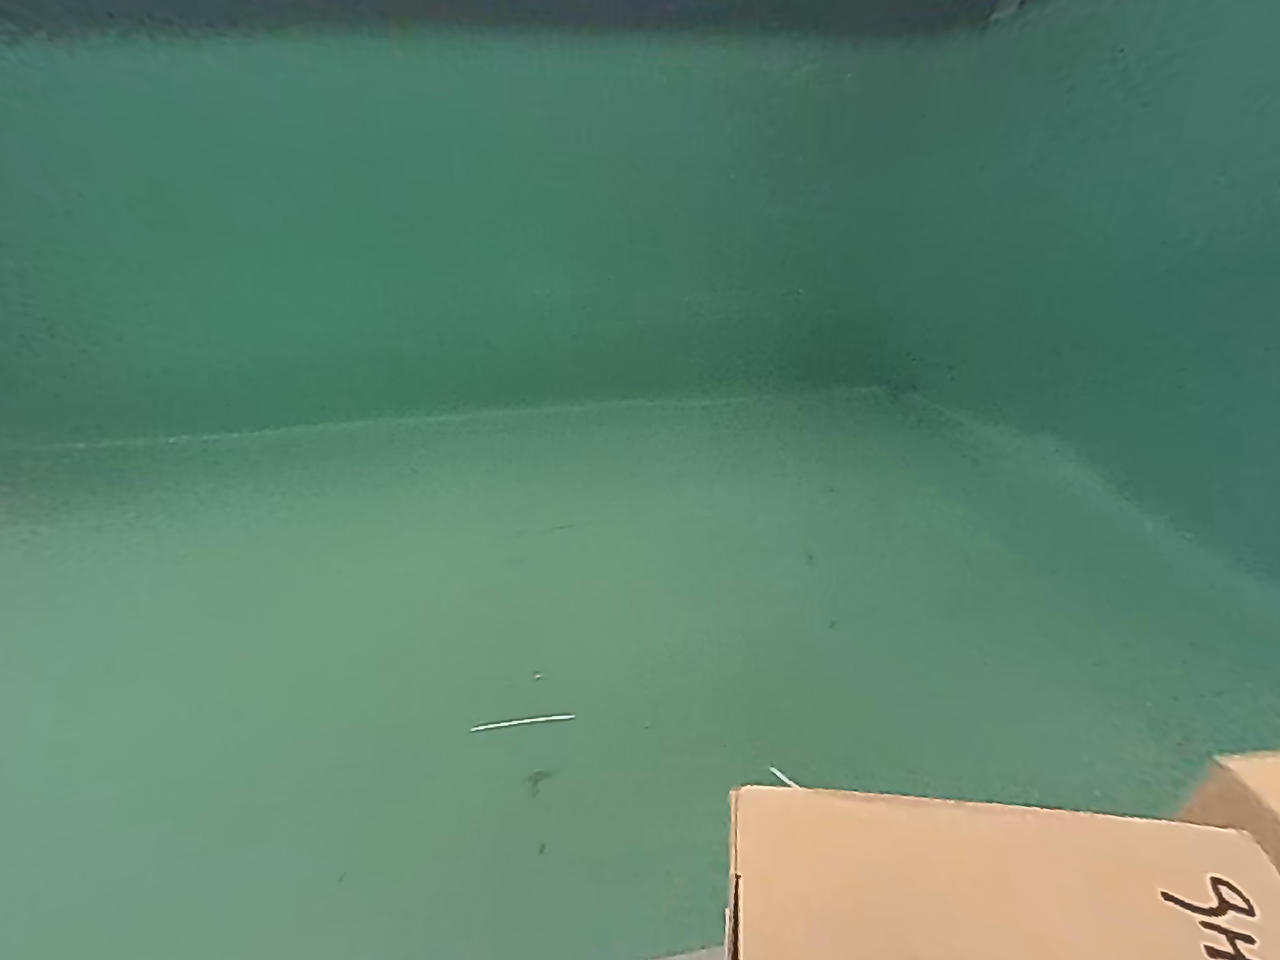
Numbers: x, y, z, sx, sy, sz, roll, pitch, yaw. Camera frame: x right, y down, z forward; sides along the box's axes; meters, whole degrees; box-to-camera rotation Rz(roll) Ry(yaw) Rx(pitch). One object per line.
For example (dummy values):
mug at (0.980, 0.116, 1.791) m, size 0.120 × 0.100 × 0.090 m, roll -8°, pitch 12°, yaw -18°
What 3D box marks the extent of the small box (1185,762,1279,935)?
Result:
small box at (0.580, 0.354, 0.433) m, size 0.168 × 0.176 × 0.179 m, roll -2°, pitch 32°, yaw -3°
